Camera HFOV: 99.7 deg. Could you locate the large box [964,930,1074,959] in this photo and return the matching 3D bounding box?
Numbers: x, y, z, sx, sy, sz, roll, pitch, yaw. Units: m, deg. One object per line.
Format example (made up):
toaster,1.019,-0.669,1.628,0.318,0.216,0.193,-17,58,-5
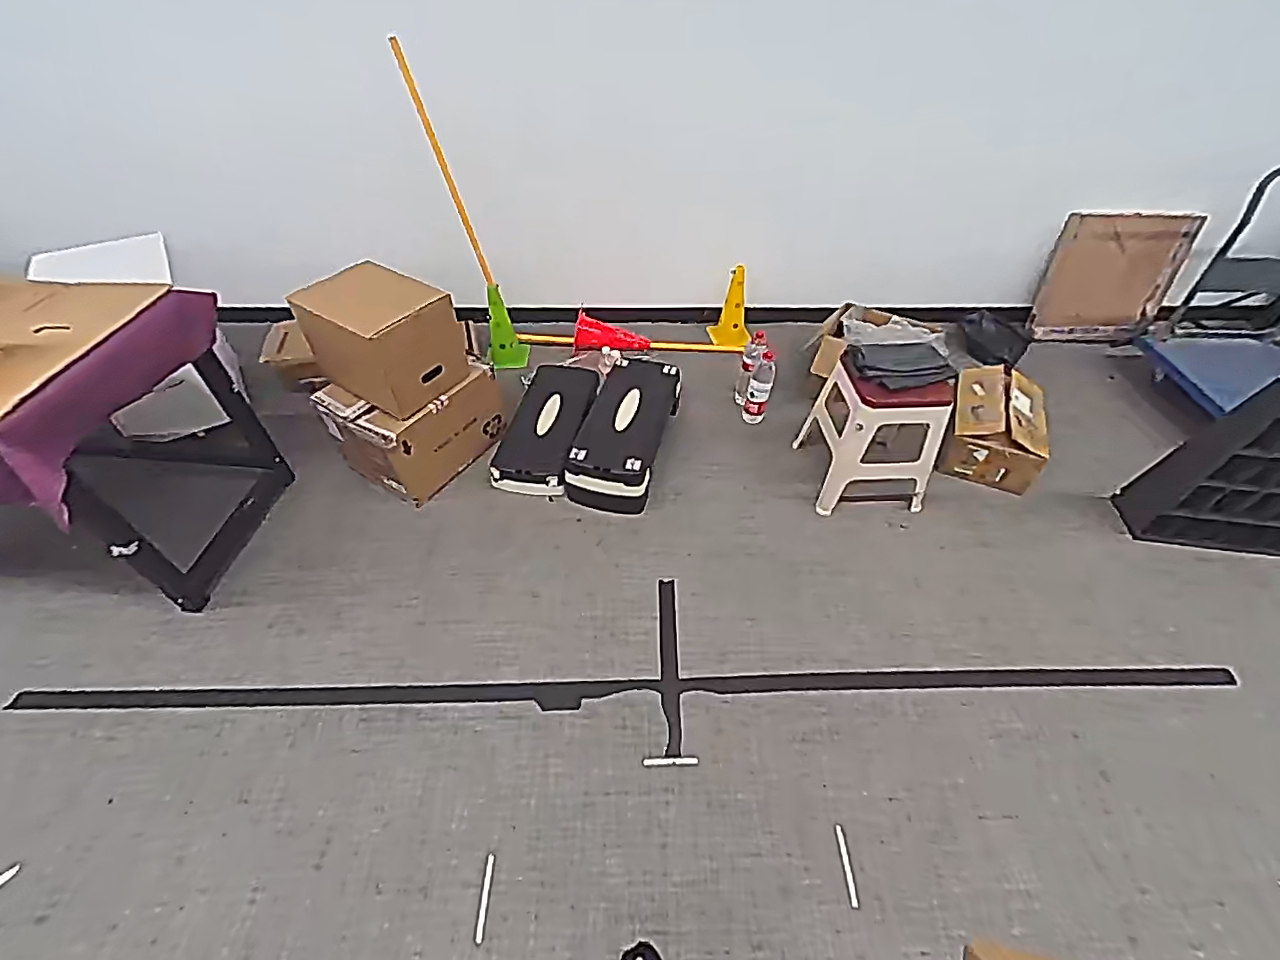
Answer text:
large box,0.563,0.780,0.542,0.320,0.408,0.320,10,78,10
